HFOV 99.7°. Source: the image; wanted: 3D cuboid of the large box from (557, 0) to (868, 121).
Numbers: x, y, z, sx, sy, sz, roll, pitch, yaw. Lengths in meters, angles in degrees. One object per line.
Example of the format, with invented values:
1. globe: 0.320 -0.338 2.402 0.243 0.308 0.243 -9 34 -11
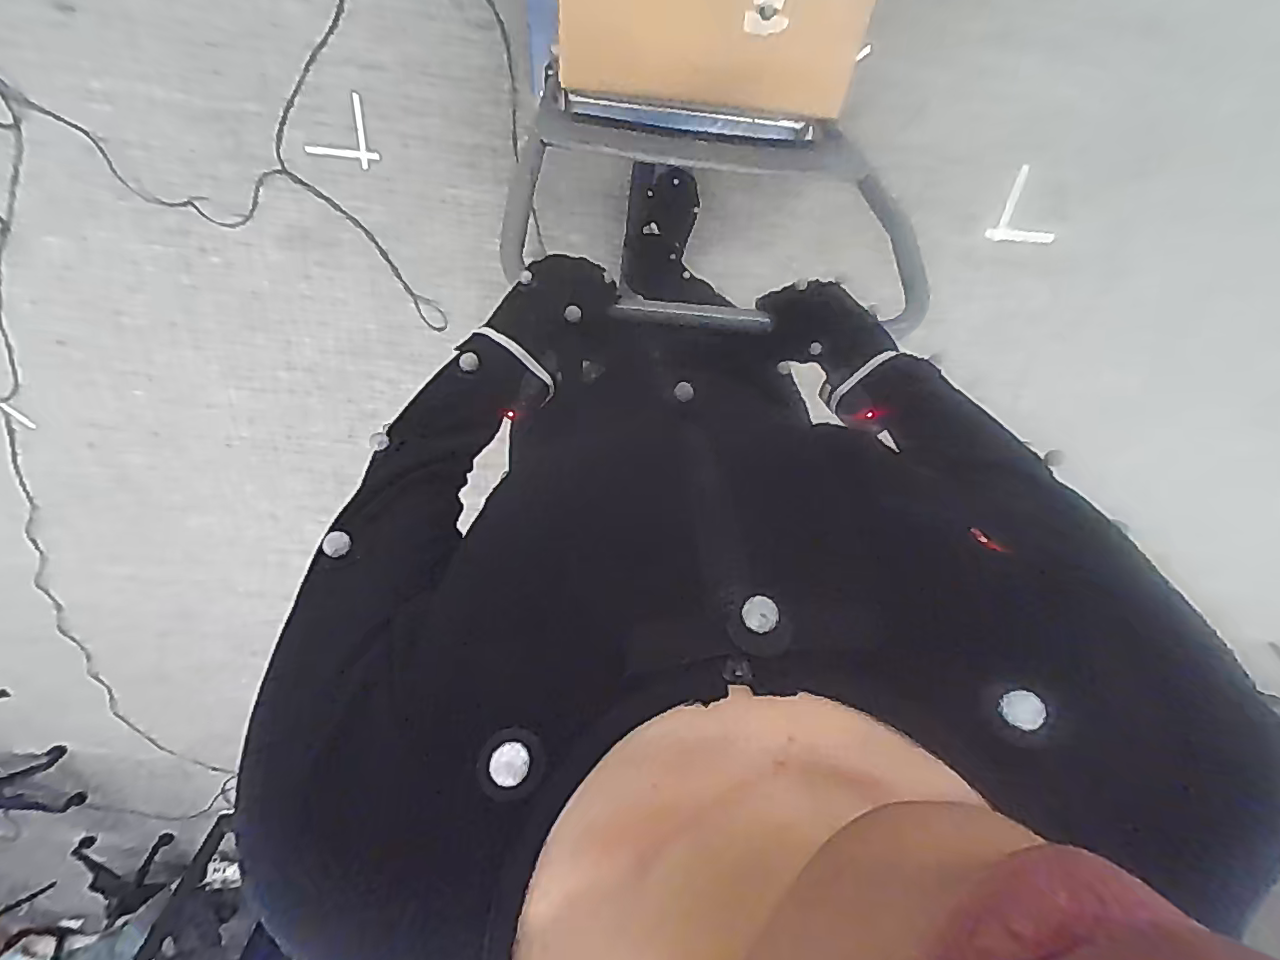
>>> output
1. large box: 0.090 -0.740 0.765 0.408 0.320 0.320 2 137 -5
